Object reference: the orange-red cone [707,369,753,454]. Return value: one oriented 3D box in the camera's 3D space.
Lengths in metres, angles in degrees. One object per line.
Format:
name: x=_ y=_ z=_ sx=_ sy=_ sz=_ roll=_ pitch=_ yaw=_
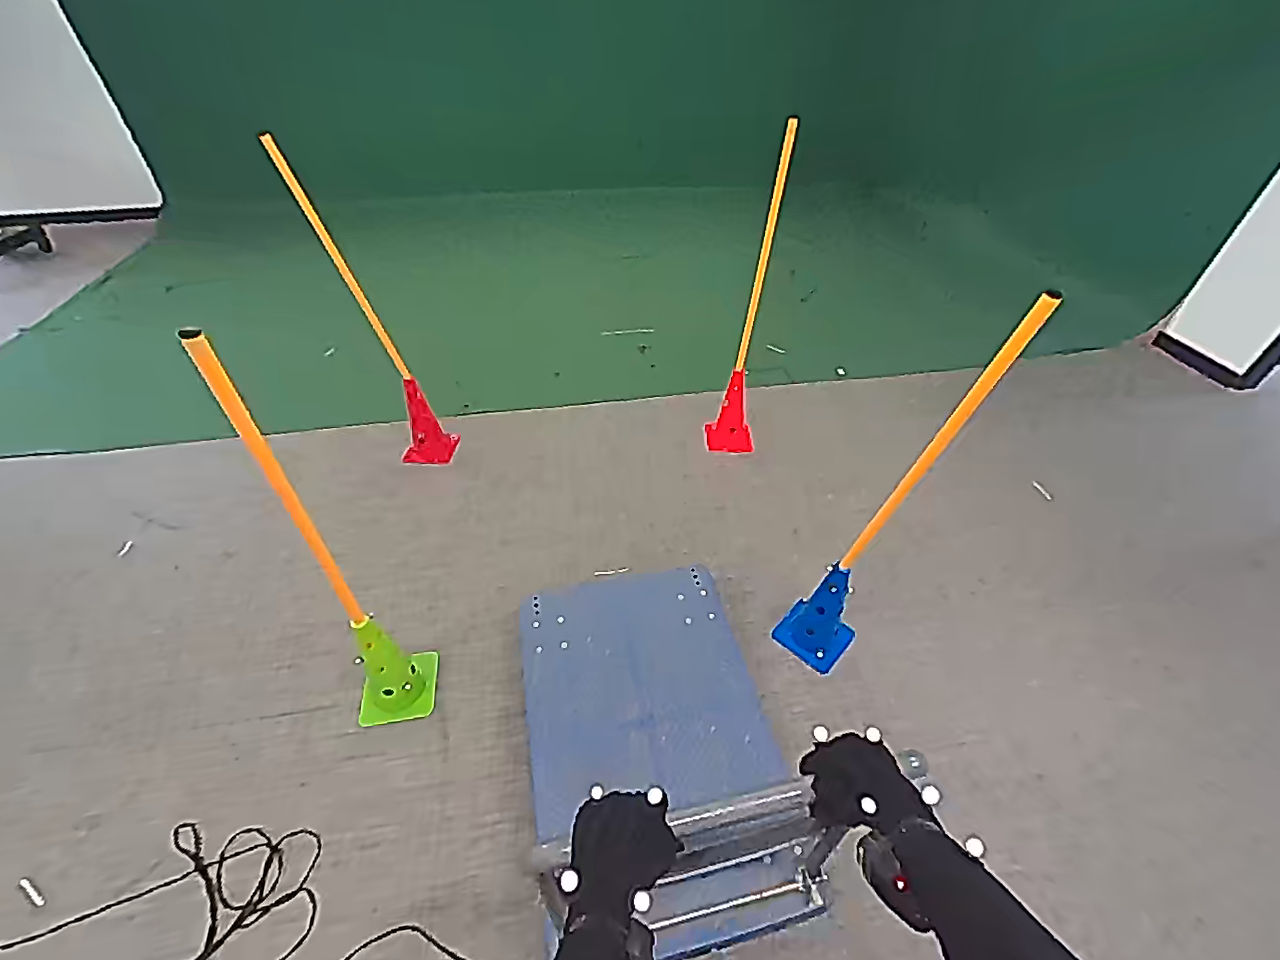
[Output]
orange-red cone: x=0.396 y=-0.304 z=2.279 sx=0.198 sy=0.360 sz=0.199 roll=1 pitch=44 yaw=1
